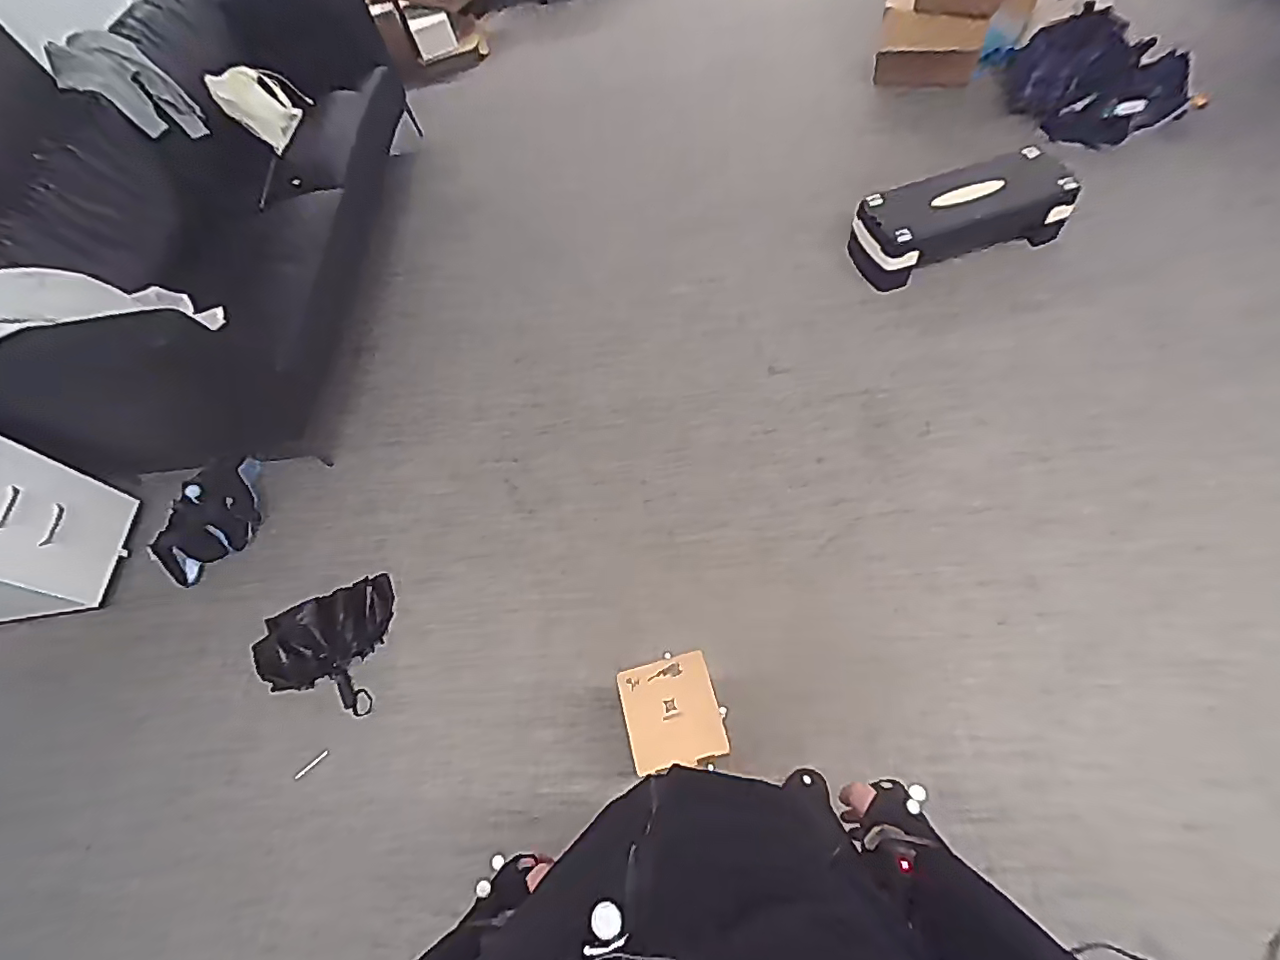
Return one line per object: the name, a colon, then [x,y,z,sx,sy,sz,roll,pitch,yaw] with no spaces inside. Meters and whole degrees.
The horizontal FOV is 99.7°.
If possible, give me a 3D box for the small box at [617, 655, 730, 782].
small box: [0.068,0.445,1.012,0.168,0.176,0.179,-16,61,2]
